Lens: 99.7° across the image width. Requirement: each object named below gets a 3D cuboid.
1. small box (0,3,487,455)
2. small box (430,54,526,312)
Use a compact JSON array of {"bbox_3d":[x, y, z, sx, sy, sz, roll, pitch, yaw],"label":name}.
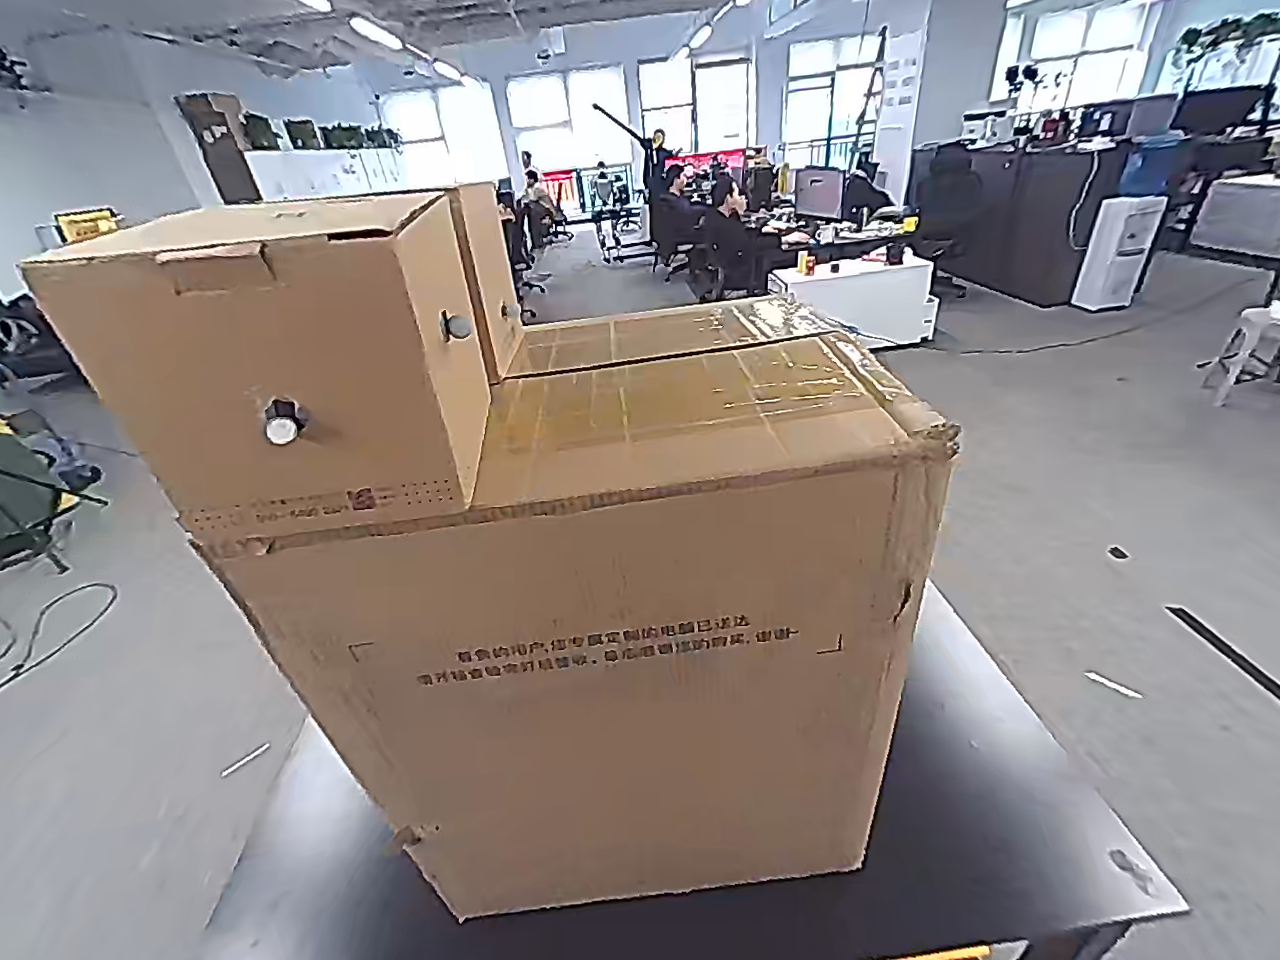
[{"bbox_3d":[-0.182,-0.123,0.282,0.168,0.176,0.179,-8,36,-6],"label":"small box"},{"bbox_3d":[-0.207,-0.232,0.457,0.179,0.176,0.168,-6,31,-1],"label":"small box"}]
